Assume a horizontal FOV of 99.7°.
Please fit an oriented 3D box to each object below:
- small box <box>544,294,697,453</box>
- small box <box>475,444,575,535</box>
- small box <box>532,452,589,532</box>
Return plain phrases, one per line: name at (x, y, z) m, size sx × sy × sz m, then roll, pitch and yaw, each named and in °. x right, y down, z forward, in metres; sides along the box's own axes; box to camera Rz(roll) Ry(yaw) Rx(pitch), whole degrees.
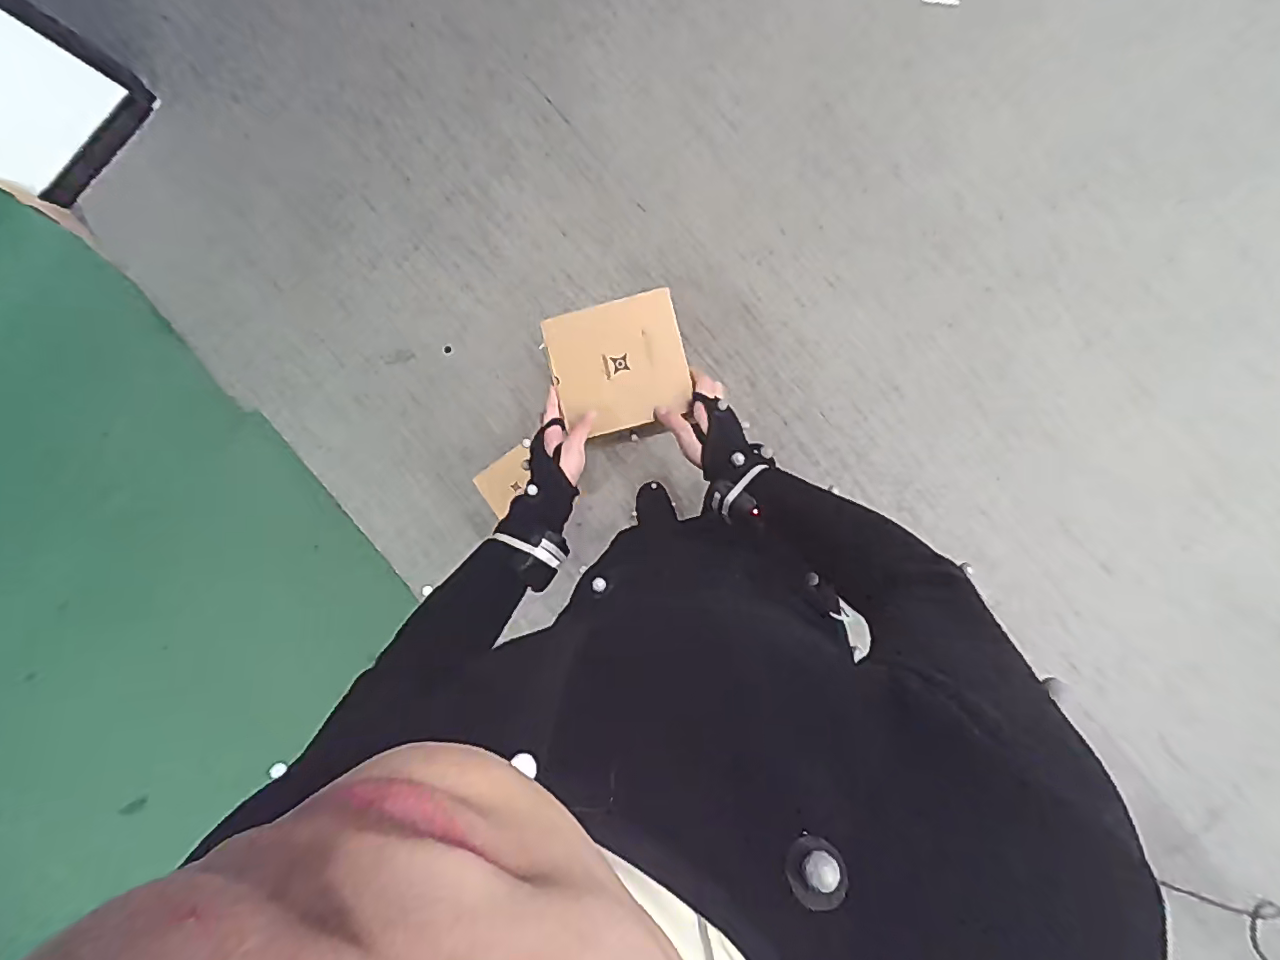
small box at (-0.019, -0.140, 0.777) m, size 0.179 × 0.176 × 0.168 m, roll -13°, pitch 87°, yaw 4°
small box at (-0.296, 0.023, 1.423) m, size 0.168 × 0.176 × 0.179 m, roll -35°, pitch 89°, yaw 5°
small box at (-0.273, 0.030, 1.601) m, size 0.168 × 0.176 × 0.179 m, roll -35°, pitch 88°, yaw 5°
